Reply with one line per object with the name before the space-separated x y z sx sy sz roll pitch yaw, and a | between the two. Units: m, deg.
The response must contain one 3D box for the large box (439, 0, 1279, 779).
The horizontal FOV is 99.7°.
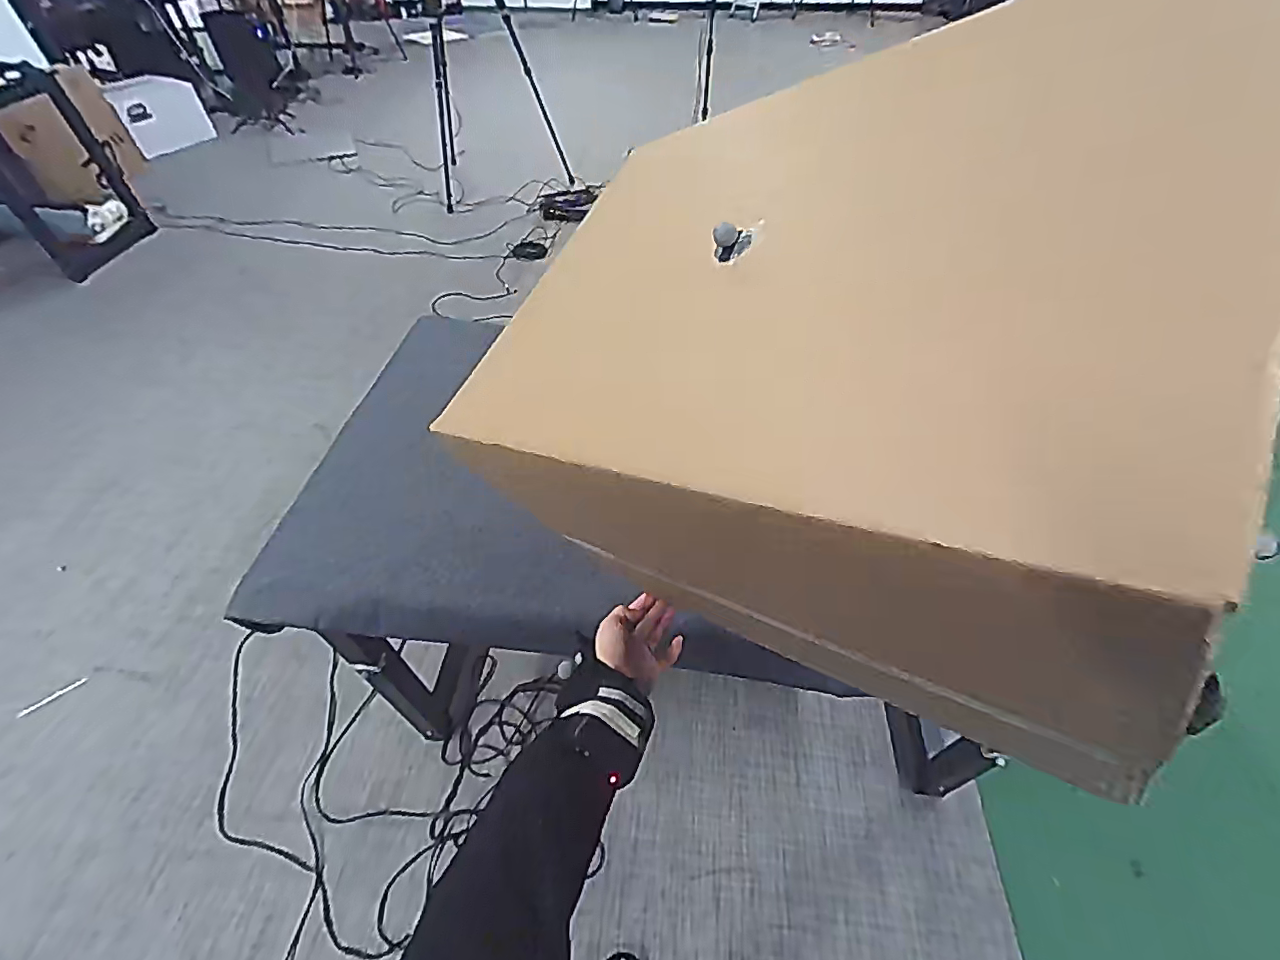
large box | 0.136 -0.044 0.400 0.408 0.320 0.320 12 66 43
